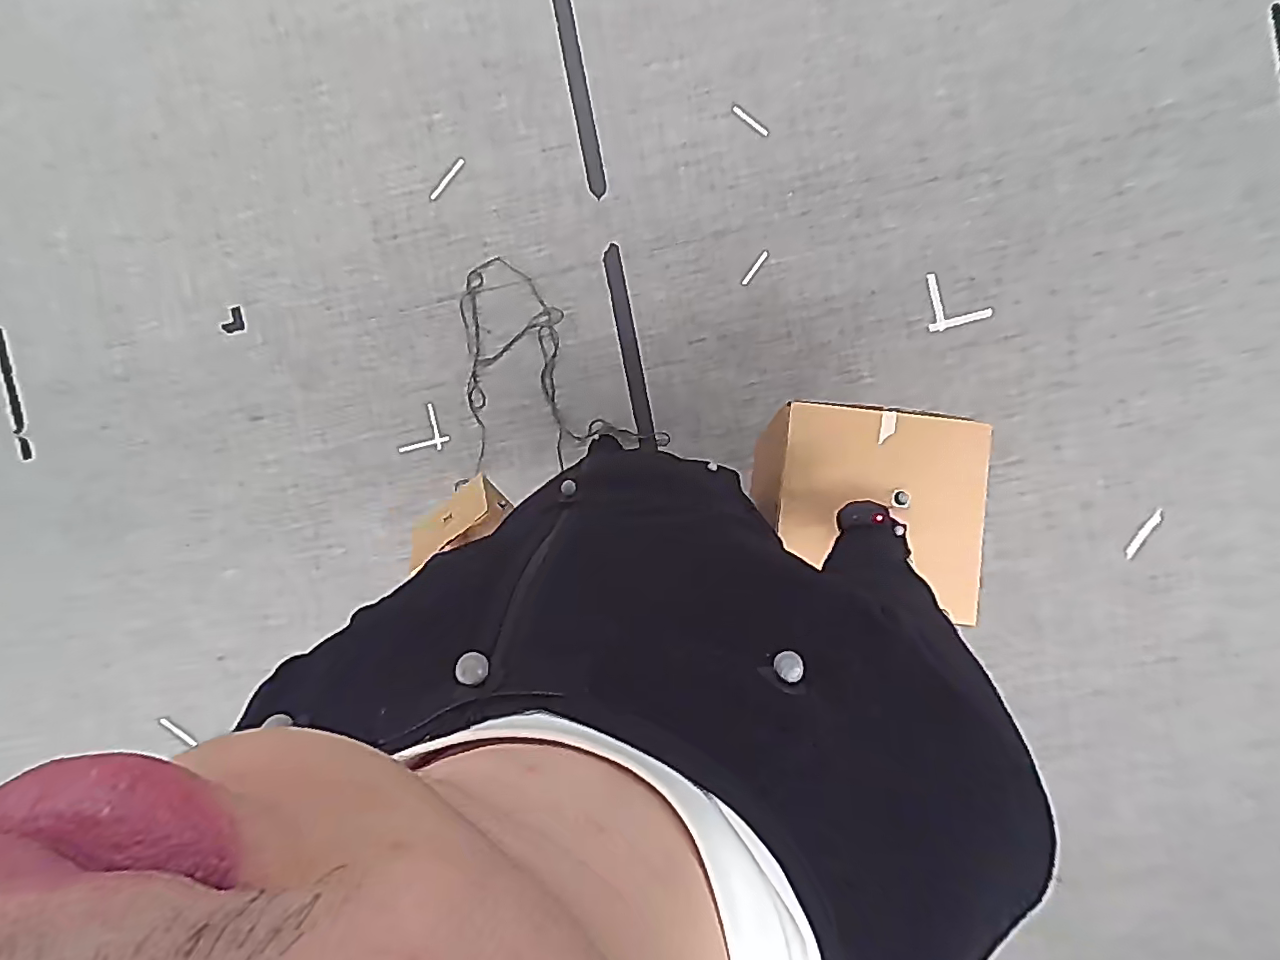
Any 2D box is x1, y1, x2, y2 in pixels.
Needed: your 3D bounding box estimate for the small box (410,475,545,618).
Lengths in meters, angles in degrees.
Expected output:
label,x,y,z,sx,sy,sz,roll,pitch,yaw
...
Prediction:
label,x,y,z,sx,sy,sz,roll,pitch,yaw
small box,-0.295,0.127,0.992,0.168,0.179,0.176,-38,121,-2
